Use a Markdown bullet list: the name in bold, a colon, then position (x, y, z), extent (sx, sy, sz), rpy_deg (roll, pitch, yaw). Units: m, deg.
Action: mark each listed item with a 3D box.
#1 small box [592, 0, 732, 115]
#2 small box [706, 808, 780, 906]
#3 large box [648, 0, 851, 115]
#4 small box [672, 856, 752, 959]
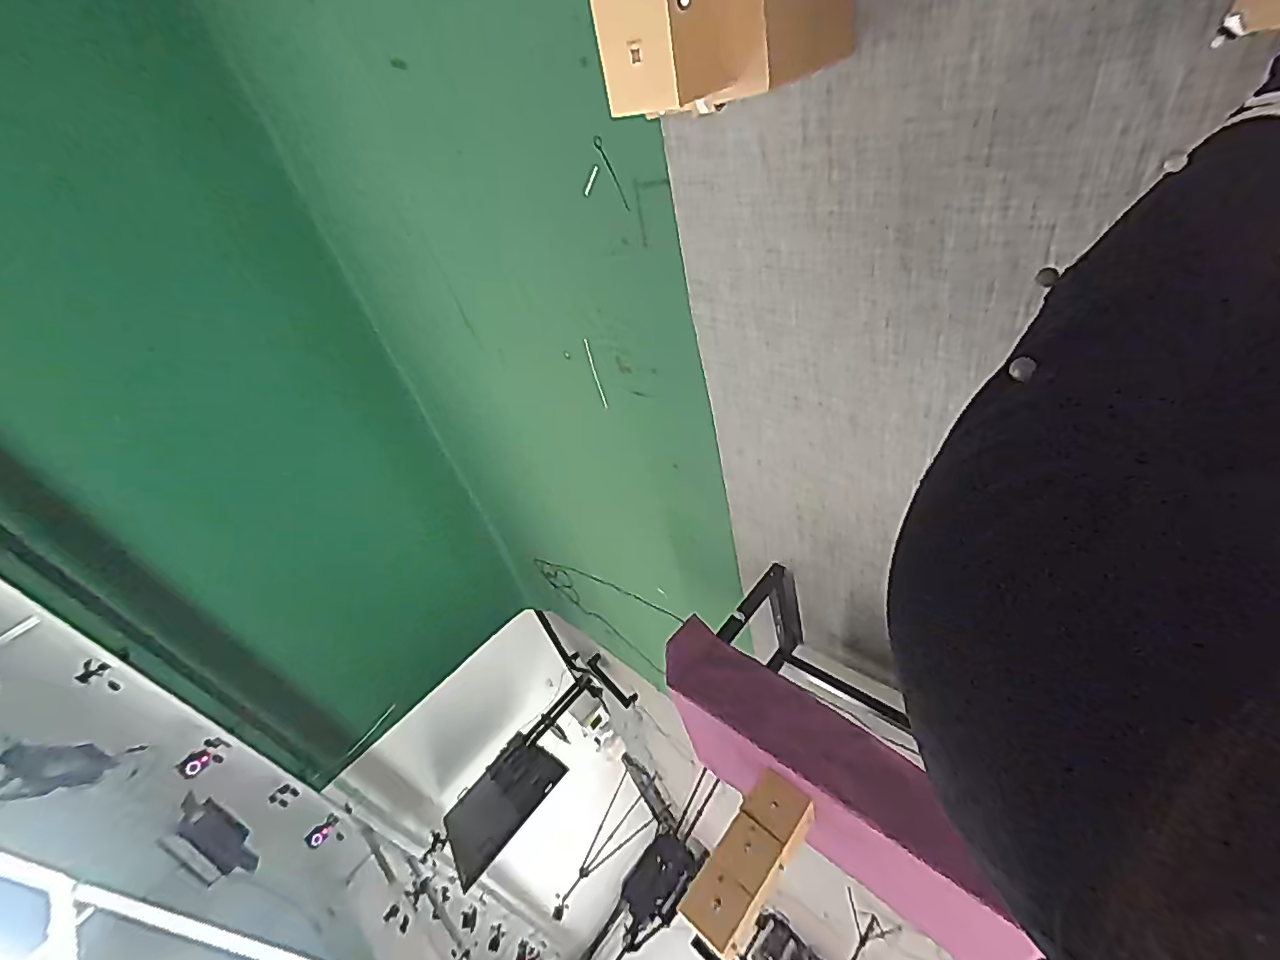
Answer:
- **small box**: position (0.047, -0.763, 0.941), extent (0.168, 0.176, 0.179), rpy_deg (23, 141, 37)
- **small box**: position (0.328, 1.182, 1.705), extent (0.168, 0.176, 0.179), rpy_deg (25, 143, 36)
- **large box**: position (0.180, -0.974, 1.016), extent (0.320, 0.320, 0.408), rpy_deg (22, 140, 40)
- **small box**: position (0.221, 1.279, 1.624), extent (0.168, 0.176, 0.179), rpy_deg (24, 144, 37)
